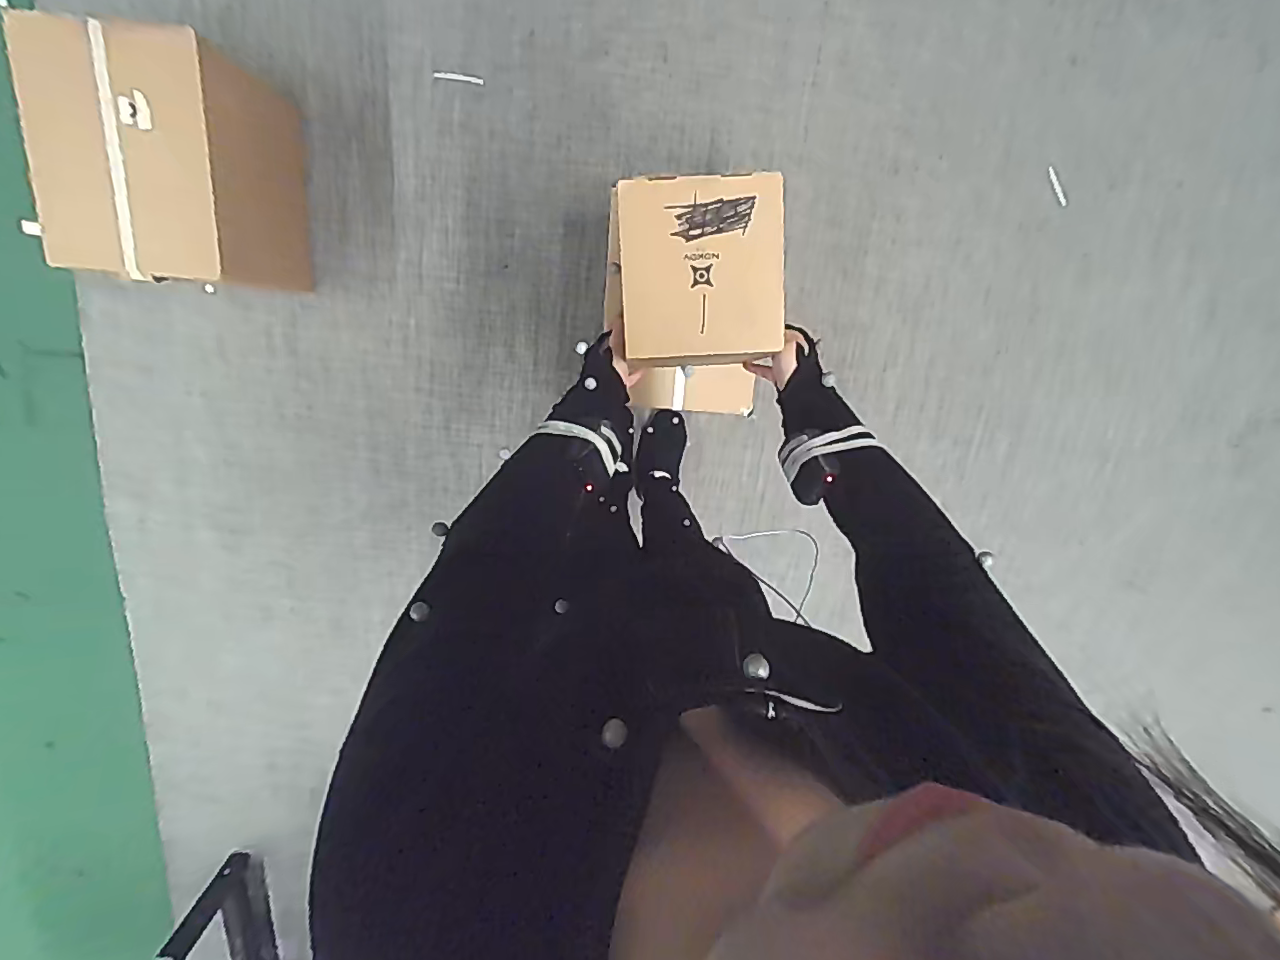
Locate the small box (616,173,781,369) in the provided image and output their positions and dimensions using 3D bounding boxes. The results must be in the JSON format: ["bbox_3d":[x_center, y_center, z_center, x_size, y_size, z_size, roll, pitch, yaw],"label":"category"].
[{"bbox_3d":[0.060,-0.225,0.624,0.168,0.176,0.179,-3,99,1],"label":"small box"}]

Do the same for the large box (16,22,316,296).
[{"bbox_3d":[-0.914,-0.604,1.105,0.320,0.320,0.408,4,104,-2],"label":"large box"}]
